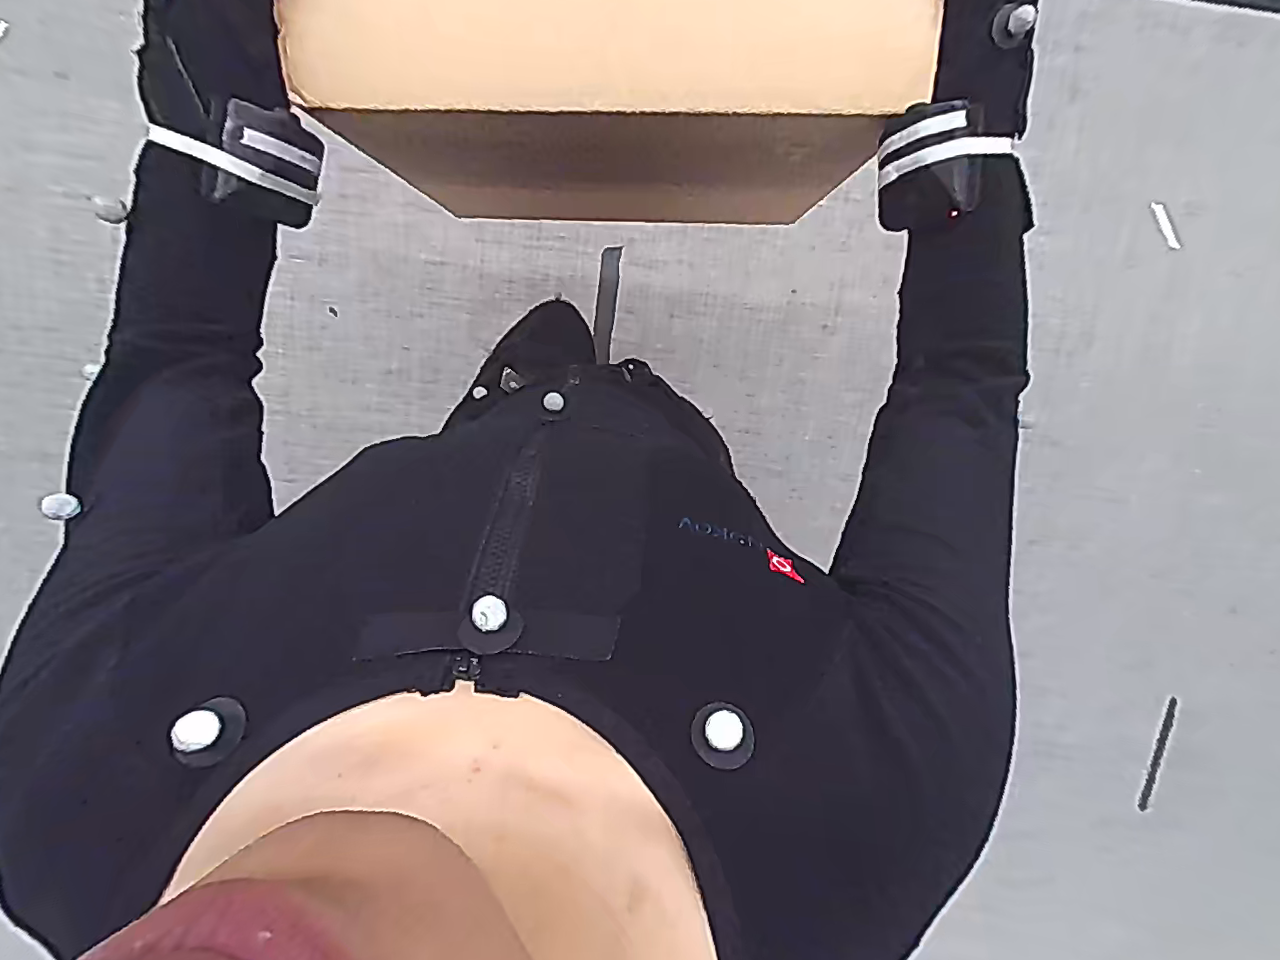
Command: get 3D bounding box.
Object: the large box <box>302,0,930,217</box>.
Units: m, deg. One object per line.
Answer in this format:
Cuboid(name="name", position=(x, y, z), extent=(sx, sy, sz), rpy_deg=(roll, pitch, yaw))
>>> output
Cuboid(name="large box", position=(-0.016, -0.431, 0.464), extent=(0.408, 0.320, 0.320), rpy_deg=(0, 104, 0))
